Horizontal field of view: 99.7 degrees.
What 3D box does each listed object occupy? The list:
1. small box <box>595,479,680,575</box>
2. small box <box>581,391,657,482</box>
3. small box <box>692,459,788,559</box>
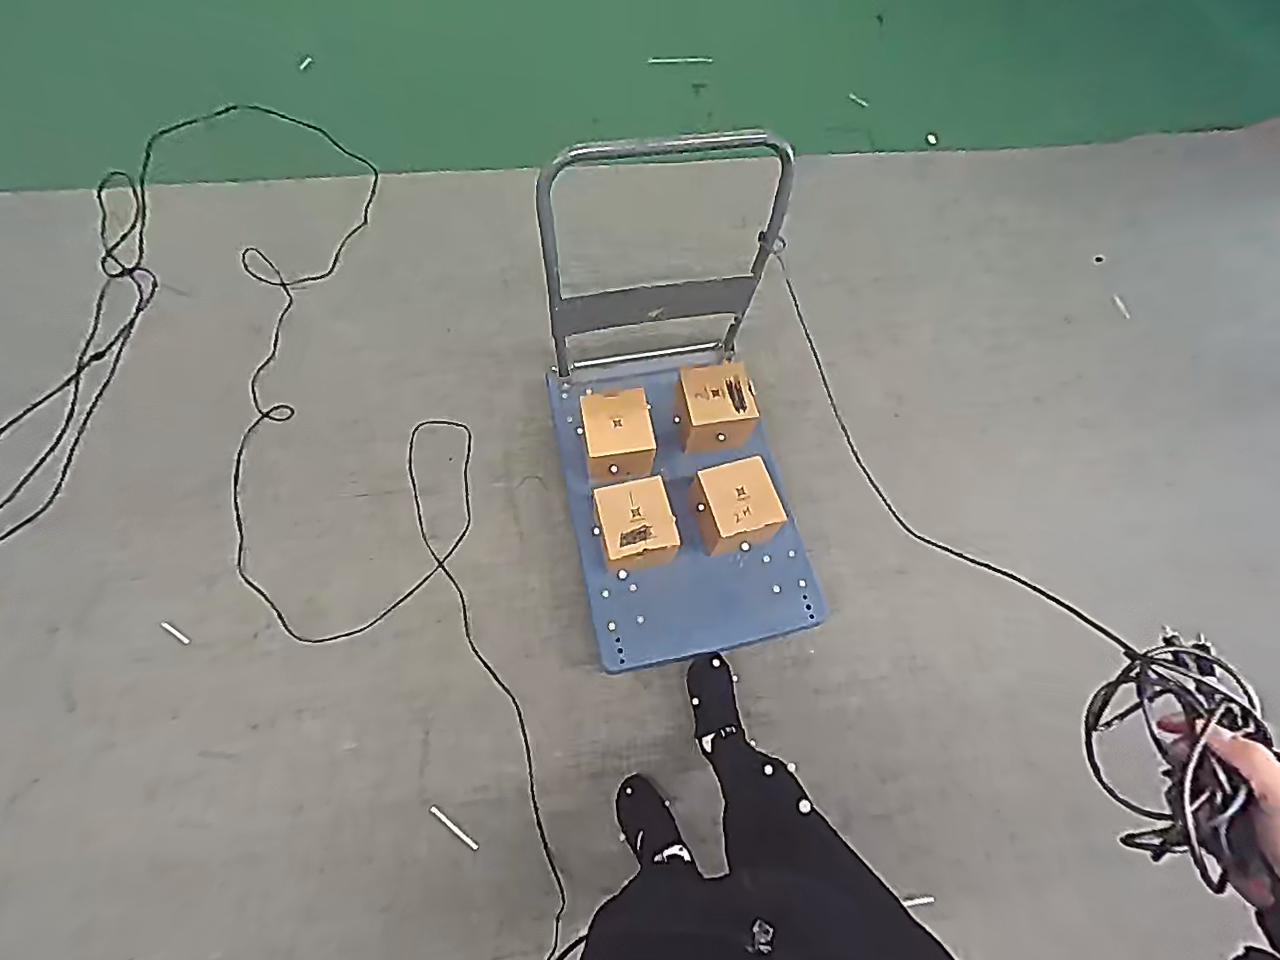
[{"bbox_3d":[-0.011,0.121,1.302,0.168,0.176,0.179,-12,67,-10],"label":"small box"},{"bbox_3d":[-0.056,-0.104,1.398,0.168,0.176,0.179,-9,67,-8],"label":"small box"},{"bbox_3d":[0.238,0.075,1.338,0.168,0.176,0.179,-14,68,-9],"label":"small box"}]
